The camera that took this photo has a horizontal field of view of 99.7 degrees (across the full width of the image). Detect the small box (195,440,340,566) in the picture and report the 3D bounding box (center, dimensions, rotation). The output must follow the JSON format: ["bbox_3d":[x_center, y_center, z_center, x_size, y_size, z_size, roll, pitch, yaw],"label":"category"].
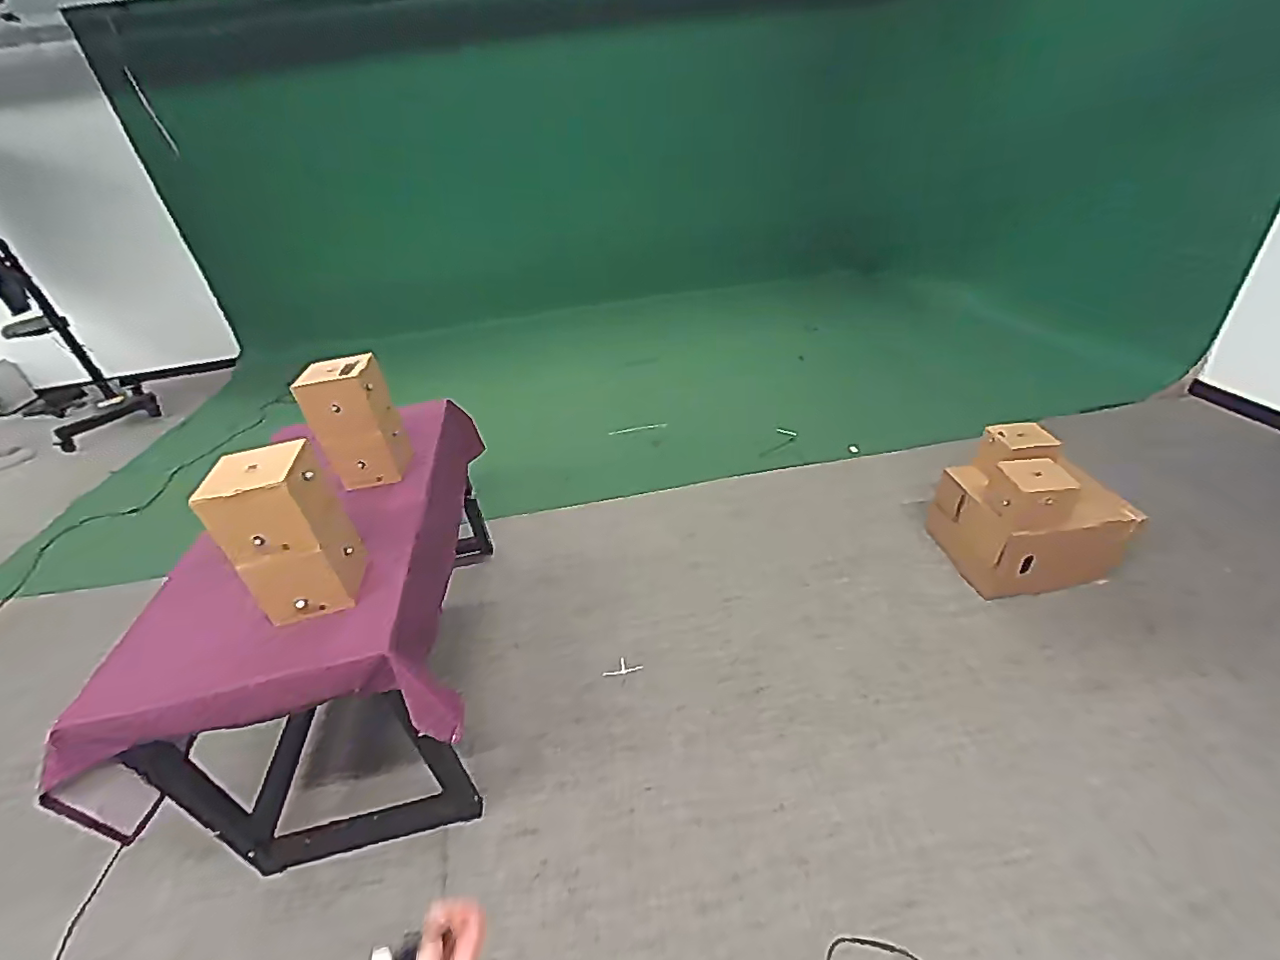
[{"bbox_3d":[-0.738,0.045,1.099,0.168,0.176,0.179,-14,35,-8],"label":"small box"}]

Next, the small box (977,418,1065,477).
[{"bbox_3d":[1.345,-0.103,1.923,0.179,0.176,0.168,-4,33,1],"label":"small box"}]

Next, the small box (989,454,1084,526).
[{"bbox_3d":[1.257,0.035,1.736,0.179,0.176,0.168,-4,36,2],"label":"small box"}]

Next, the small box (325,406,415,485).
[{"bbox_3d":[-0.789,-0.097,1.604,0.168,0.176,0.179,-9,34,-2],"label":"small box"}]

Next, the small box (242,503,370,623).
[{"bbox_3d":[-0.716,0.180,1.186,0.168,0.176,0.179,-13,35,-7],"label":"small box"}]
